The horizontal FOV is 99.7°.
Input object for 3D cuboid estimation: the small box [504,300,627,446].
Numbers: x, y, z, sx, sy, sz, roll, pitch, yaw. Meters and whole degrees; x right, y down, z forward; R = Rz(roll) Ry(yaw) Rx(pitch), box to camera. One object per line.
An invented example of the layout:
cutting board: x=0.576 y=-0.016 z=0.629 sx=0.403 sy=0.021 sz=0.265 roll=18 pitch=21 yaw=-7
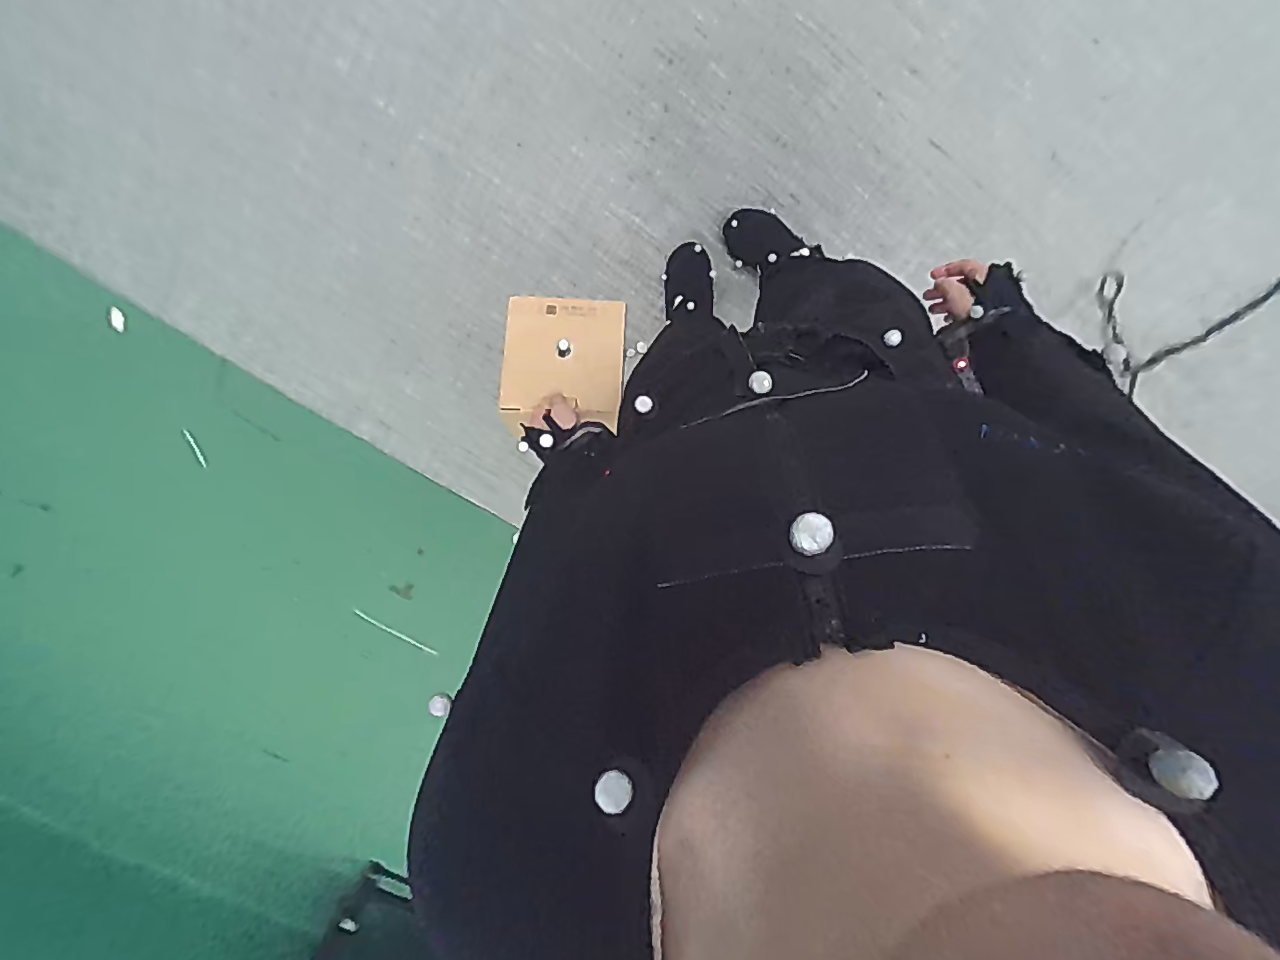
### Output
small box: x=-0.105 y=-0.157 z=0.821 sx=0.168 sy=0.179 sz=0.176 roll=2 pitch=78 yaw=-2
